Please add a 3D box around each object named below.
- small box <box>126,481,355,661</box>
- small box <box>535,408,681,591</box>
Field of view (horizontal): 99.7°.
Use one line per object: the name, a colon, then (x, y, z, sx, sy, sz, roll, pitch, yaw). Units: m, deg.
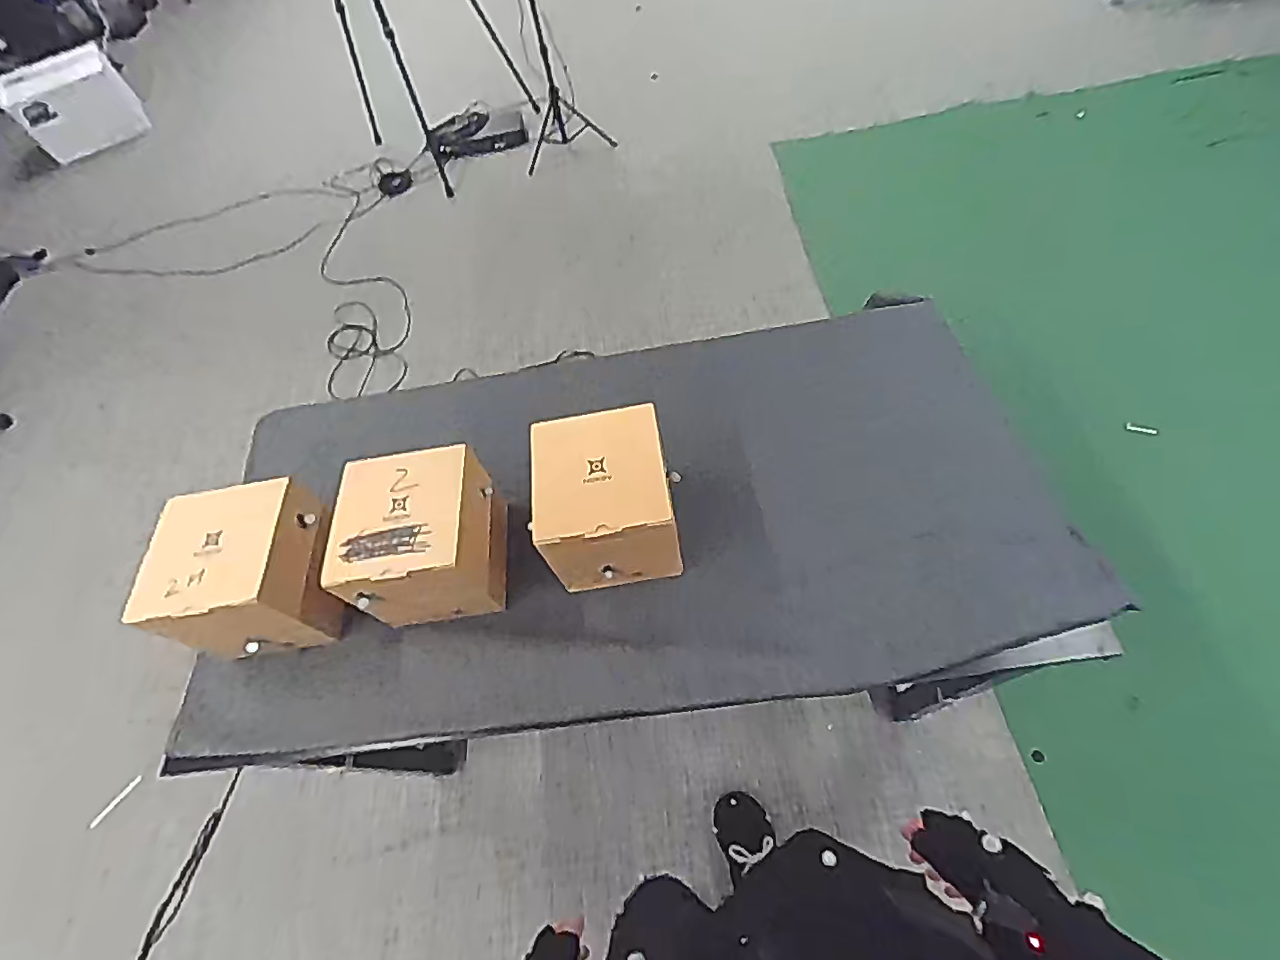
small box: (-0.518, 0.128, 0.735, 0.168, 0.176, 0.179, -10, 57, 1)
small box: (-0.039, 0.032, 0.730, 0.168, 0.176, 0.179, -10, 59, 2)
